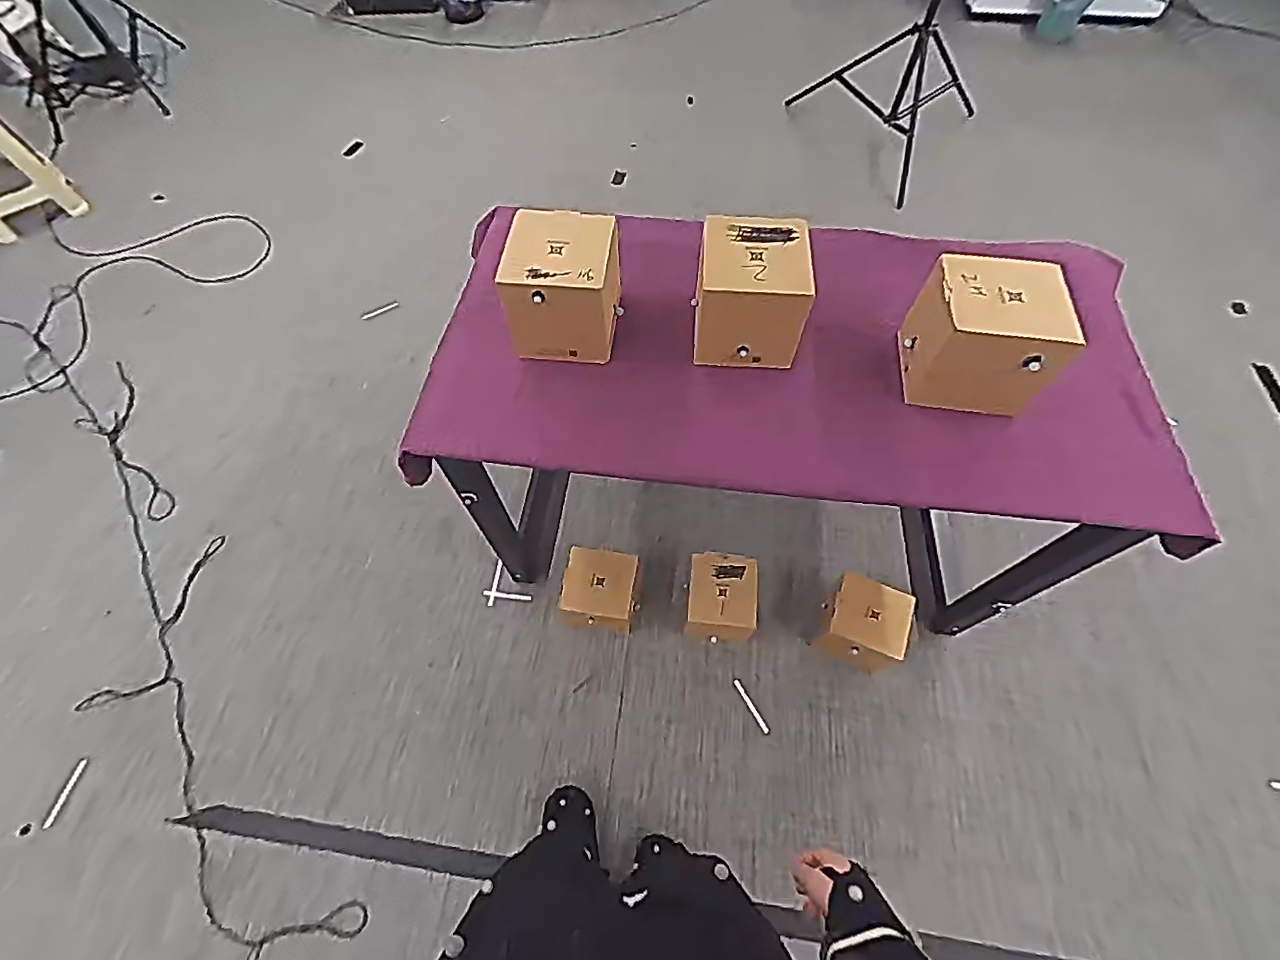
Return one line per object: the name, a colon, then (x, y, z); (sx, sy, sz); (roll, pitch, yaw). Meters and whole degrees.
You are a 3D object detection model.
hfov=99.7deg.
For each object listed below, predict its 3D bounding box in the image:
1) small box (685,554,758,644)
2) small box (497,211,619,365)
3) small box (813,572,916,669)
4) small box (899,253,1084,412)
small box: (0.205, 0.308, 1.389); (0.168, 0.176, 0.179); (5, 61, 4)
small box: (-0.126, -0.321, 0.913); (0.168, 0.176, 0.179); (4, 60, 3)
small box: (0.556, 0.359, 1.356); (0.179, 0.176, 0.168); (20, 63, 13)
small box: (0.532, -0.224, 0.847); (0.179, 0.176, 0.168); (7, 60, 6)
